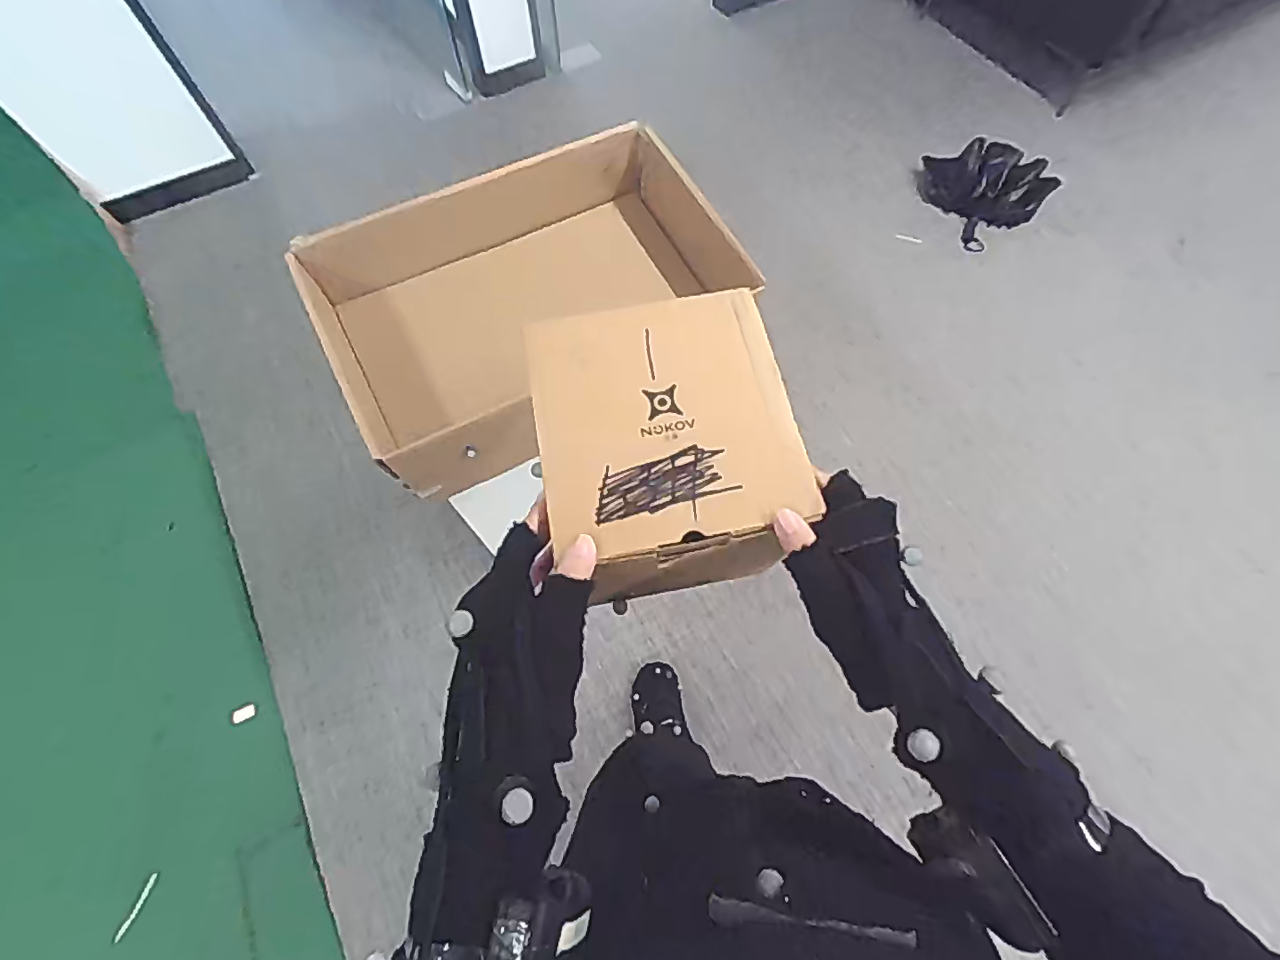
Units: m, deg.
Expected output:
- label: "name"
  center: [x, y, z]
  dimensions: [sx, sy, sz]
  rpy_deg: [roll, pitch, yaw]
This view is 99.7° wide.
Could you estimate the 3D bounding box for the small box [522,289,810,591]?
- label: "small box"
  center: [0.012, -0.016, 0.429]
  dimensions: [0.168, 0.176, 0.179]
  rpy_deg: [-10, 68, -4]
